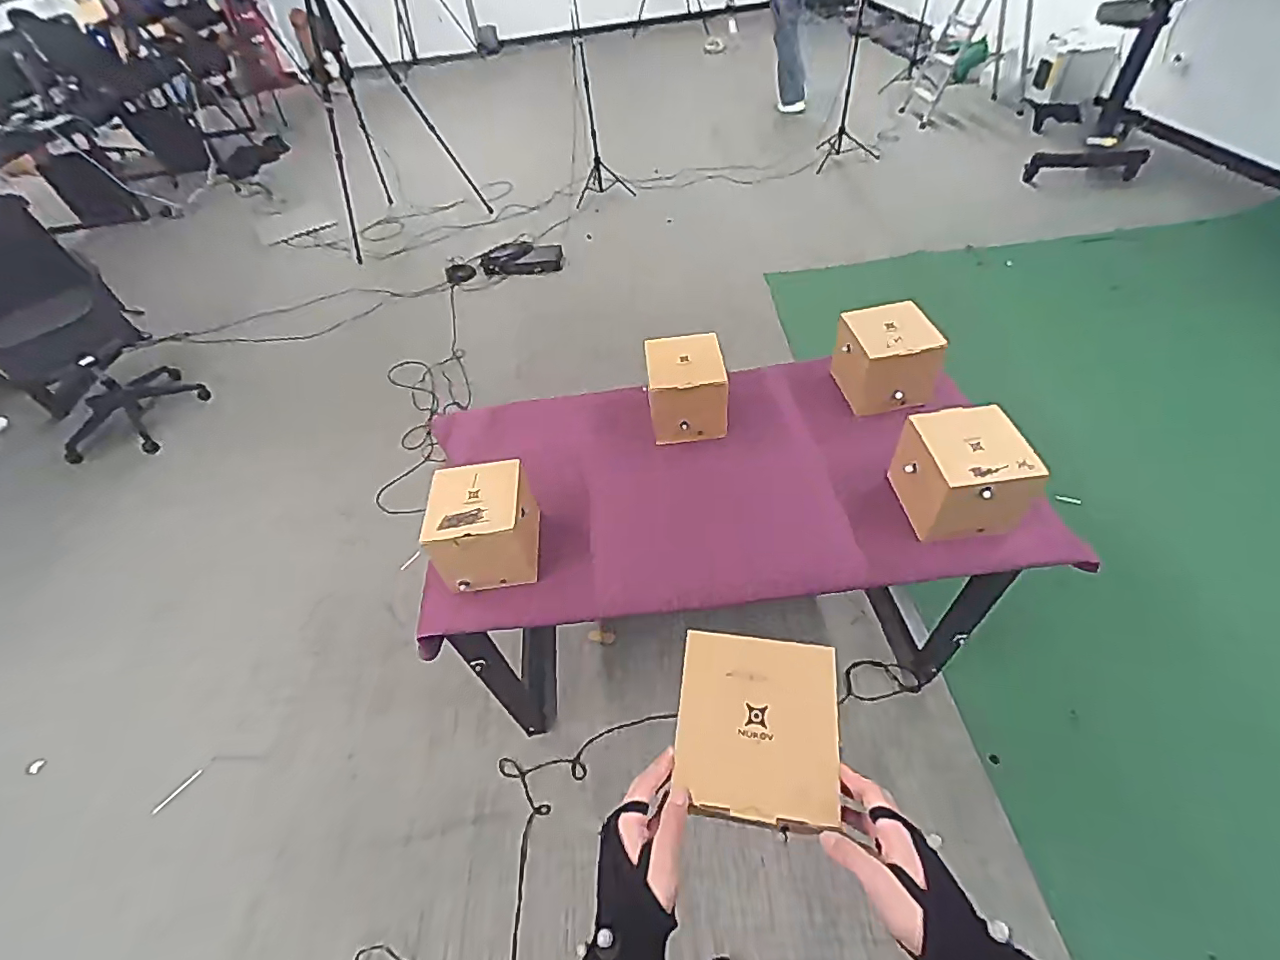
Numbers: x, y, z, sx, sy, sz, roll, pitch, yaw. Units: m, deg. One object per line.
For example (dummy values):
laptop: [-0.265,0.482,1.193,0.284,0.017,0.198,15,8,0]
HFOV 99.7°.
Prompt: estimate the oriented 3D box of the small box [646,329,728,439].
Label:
small box: [0.104,-0.218,1.239,0.168,0.176,0.179,-7,52,2]

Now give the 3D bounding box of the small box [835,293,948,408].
small box: [0.554,-0.291,1.224,0.168,0.176,0.179,-11,50,3]

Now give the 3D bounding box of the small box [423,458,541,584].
small box: [-0.292,0.086,1.041,0.168,0.176,0.179,-8,48,1]

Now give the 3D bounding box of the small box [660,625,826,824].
small box: [0.124,0.292,0.642,0.168,0.176,0.179,5,58,11]

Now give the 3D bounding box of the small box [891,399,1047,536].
small box: [0.586,-0.021,0.995,0.168,0.176,0.179,-8,50,3]
